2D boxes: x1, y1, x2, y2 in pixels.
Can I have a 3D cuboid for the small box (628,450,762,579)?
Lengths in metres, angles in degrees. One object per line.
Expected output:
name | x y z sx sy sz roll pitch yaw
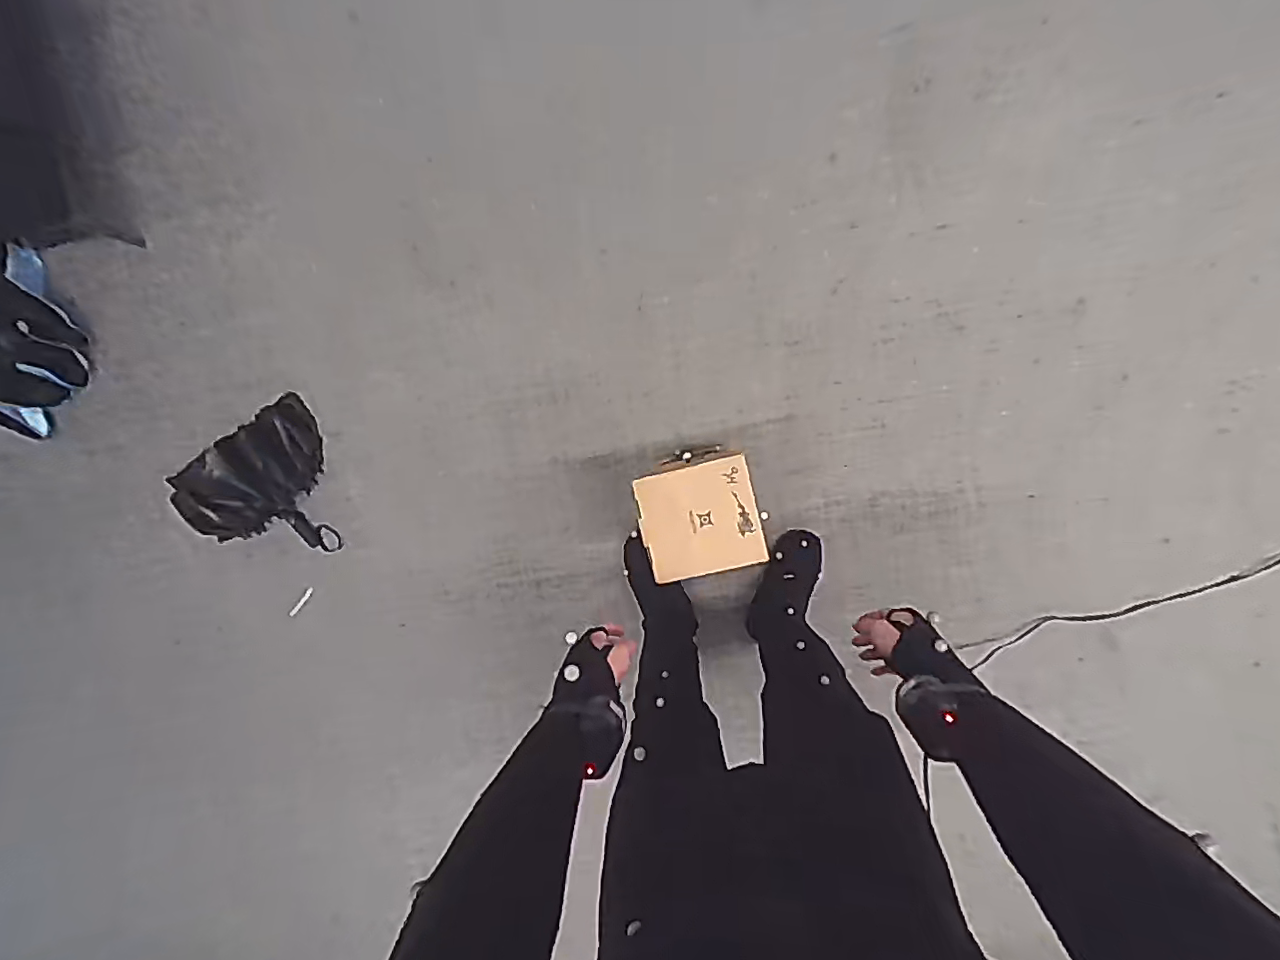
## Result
small box | 0.095 0.050 0.894 0.179 0.176 0.168 -14 93 9

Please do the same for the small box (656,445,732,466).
small box | 0.138 0.021 1.218 0.168 0.176 0.179 -13 95 8
